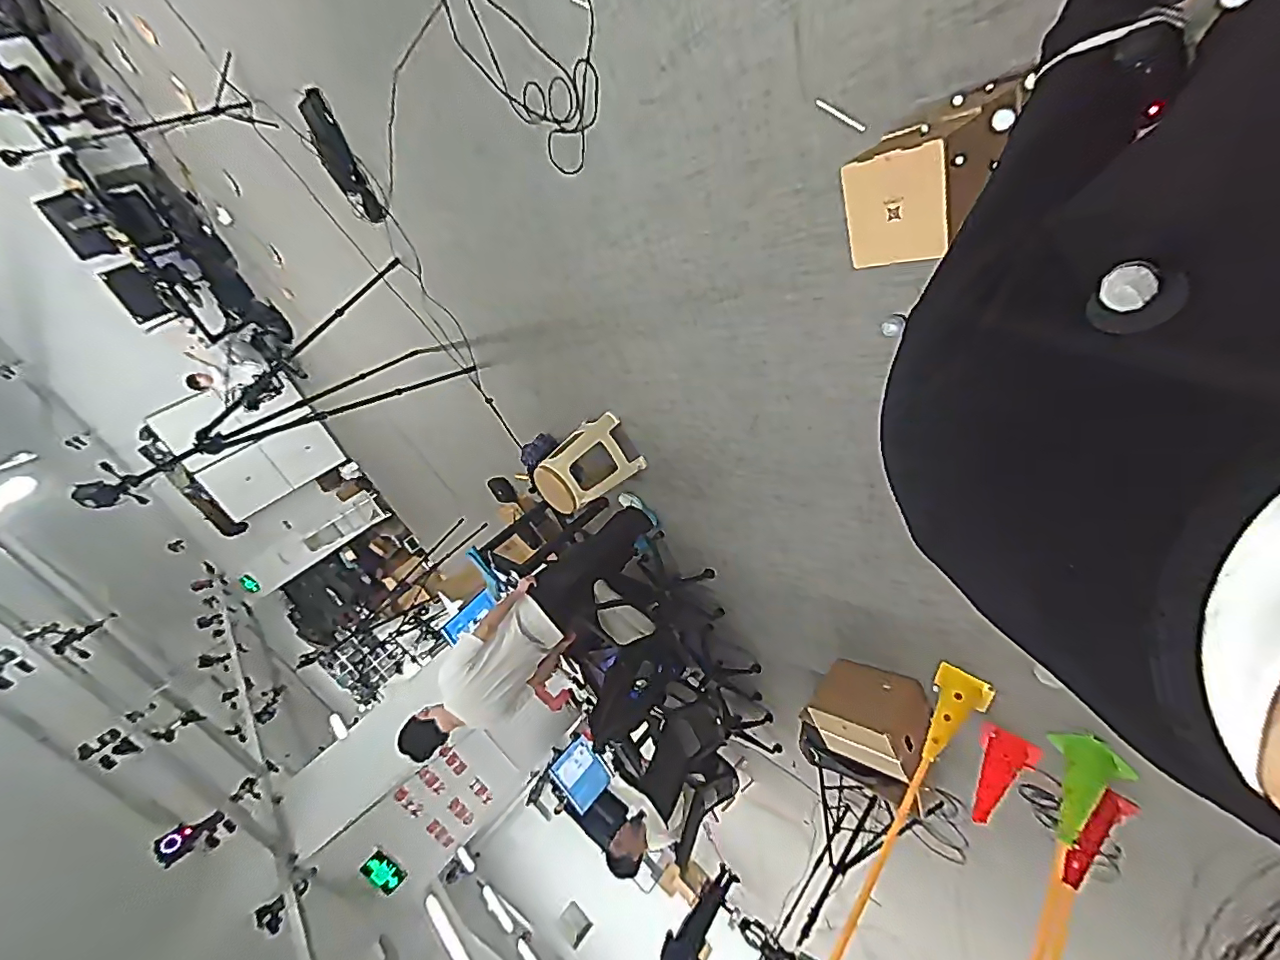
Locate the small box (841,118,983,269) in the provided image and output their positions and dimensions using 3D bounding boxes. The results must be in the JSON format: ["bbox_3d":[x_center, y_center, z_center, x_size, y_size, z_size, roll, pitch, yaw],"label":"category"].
[{"bbox_3d":[0.476,-0.491,0.939,0.168,0.176,0.179,13,134,47],"label":"small box"}]

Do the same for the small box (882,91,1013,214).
[{"bbox_3d":[0.580,-0.590,1.015,0.168,0.176,0.179,14,134,46],"label":"small box"}]

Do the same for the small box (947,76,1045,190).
[{"bbox_3d":[0.694,-0.682,1.092,0.179,0.176,0.168,12,133,46],"label":"small box"}]
